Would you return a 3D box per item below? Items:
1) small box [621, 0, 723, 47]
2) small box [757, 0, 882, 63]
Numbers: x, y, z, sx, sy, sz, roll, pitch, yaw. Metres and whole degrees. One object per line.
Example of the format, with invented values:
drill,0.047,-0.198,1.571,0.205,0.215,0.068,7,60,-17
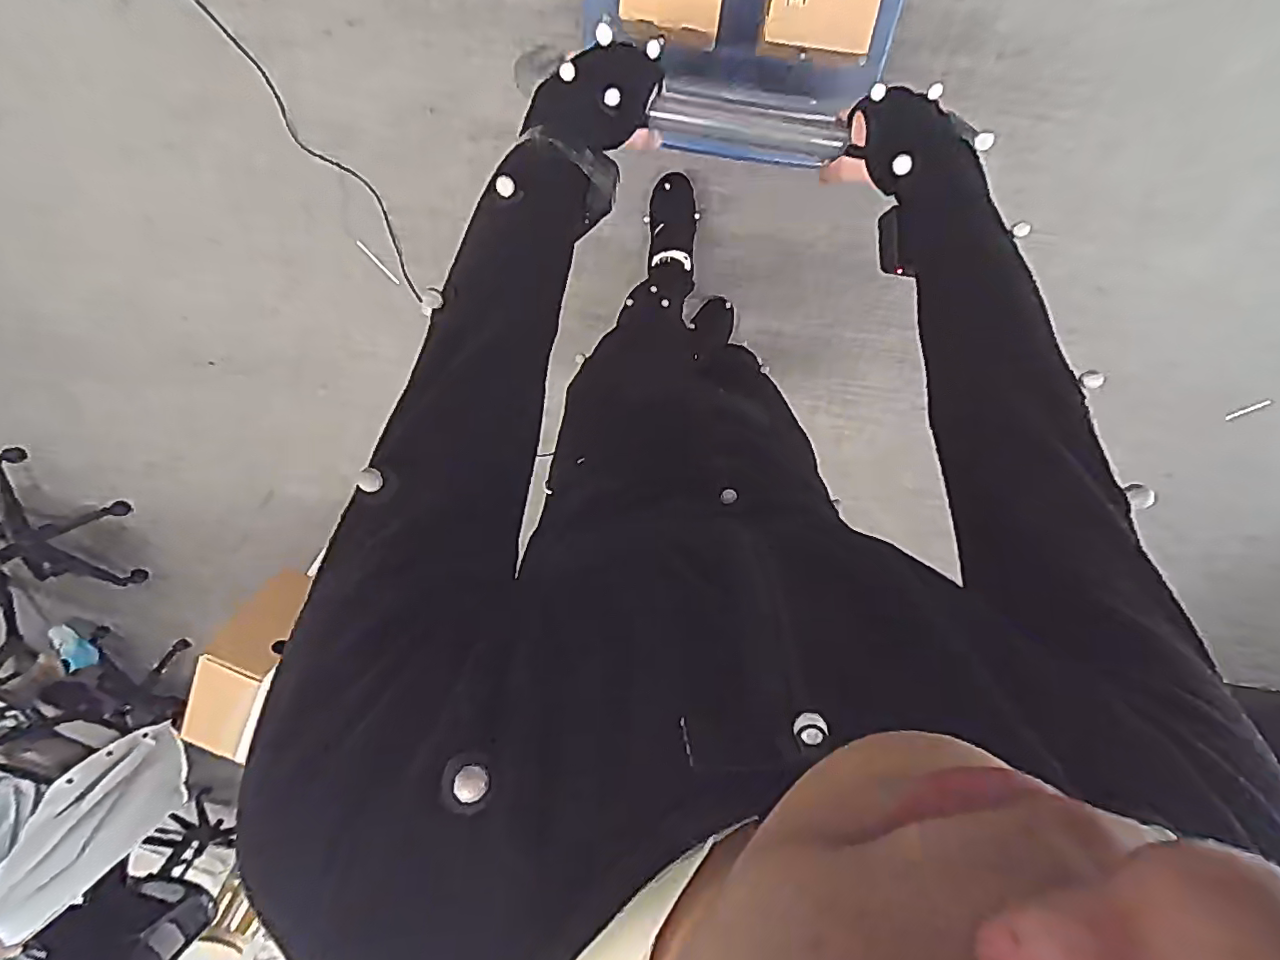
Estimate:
small box,0.065,-0.864,0.911,0.168,0.176,0.179,9,123,-1
small box,0.304,-0.823,0.910,0.179,0.176,0.168,8,123,-1
